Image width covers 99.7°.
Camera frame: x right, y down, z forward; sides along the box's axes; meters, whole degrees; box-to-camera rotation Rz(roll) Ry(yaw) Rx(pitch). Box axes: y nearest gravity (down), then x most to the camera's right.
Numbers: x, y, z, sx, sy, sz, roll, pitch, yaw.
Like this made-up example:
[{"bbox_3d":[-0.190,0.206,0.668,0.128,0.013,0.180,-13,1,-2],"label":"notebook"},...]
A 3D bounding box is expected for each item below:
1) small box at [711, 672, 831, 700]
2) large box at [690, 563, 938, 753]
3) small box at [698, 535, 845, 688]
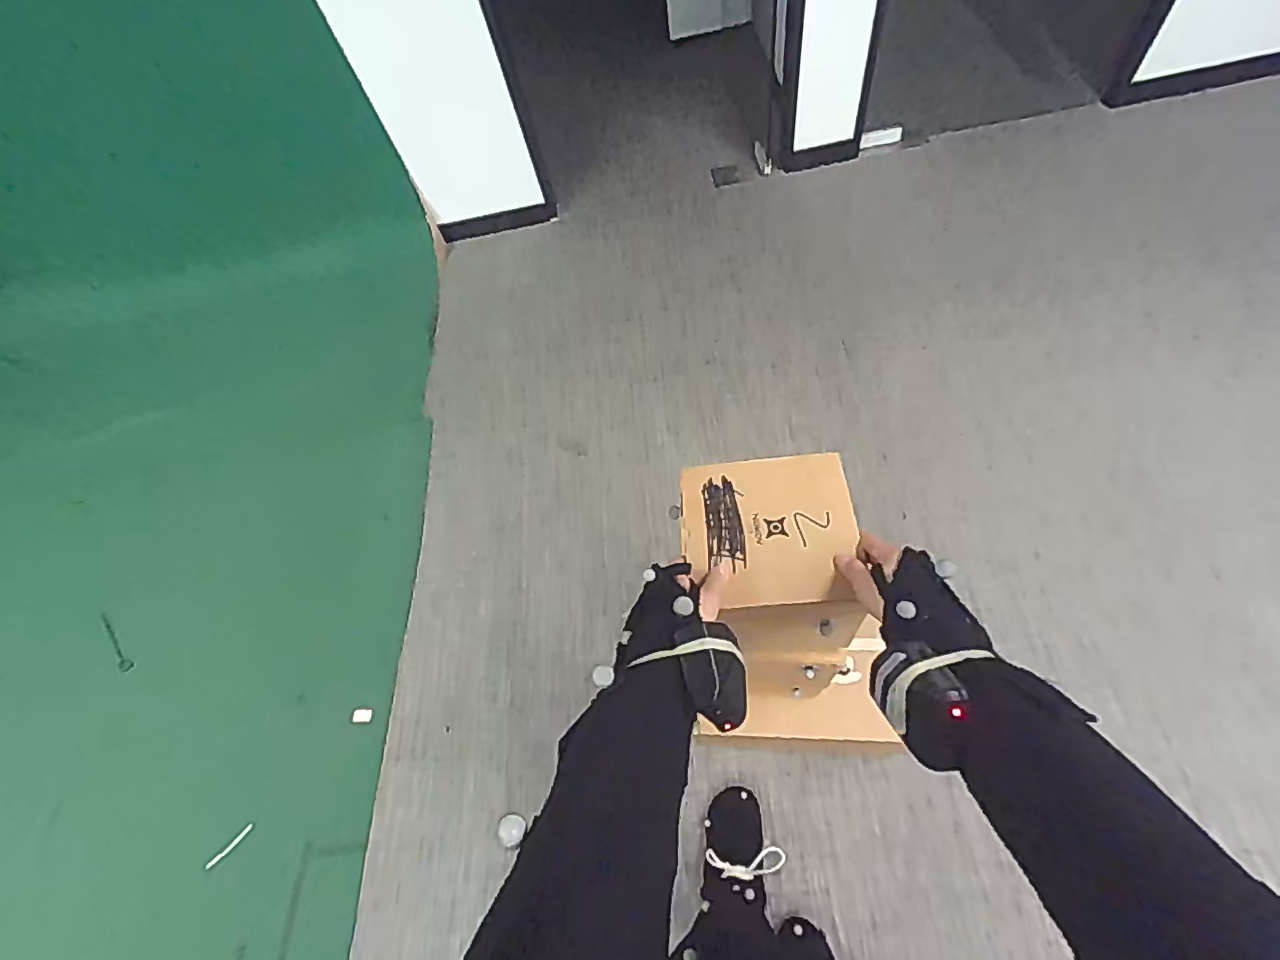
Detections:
[{"bbox_3d":[0.207,0.264,0.898,0.179,0.176,0.168,-3,58,9],"label":"small box"},{"bbox_3d":[0.311,0.372,1.101,0.408,0.320,0.320,-2,61,8],"label":"large box"},{"bbox_3d":[0.175,0.188,0.758,0.179,0.176,0.168,0,59,9],"label":"small box"}]
